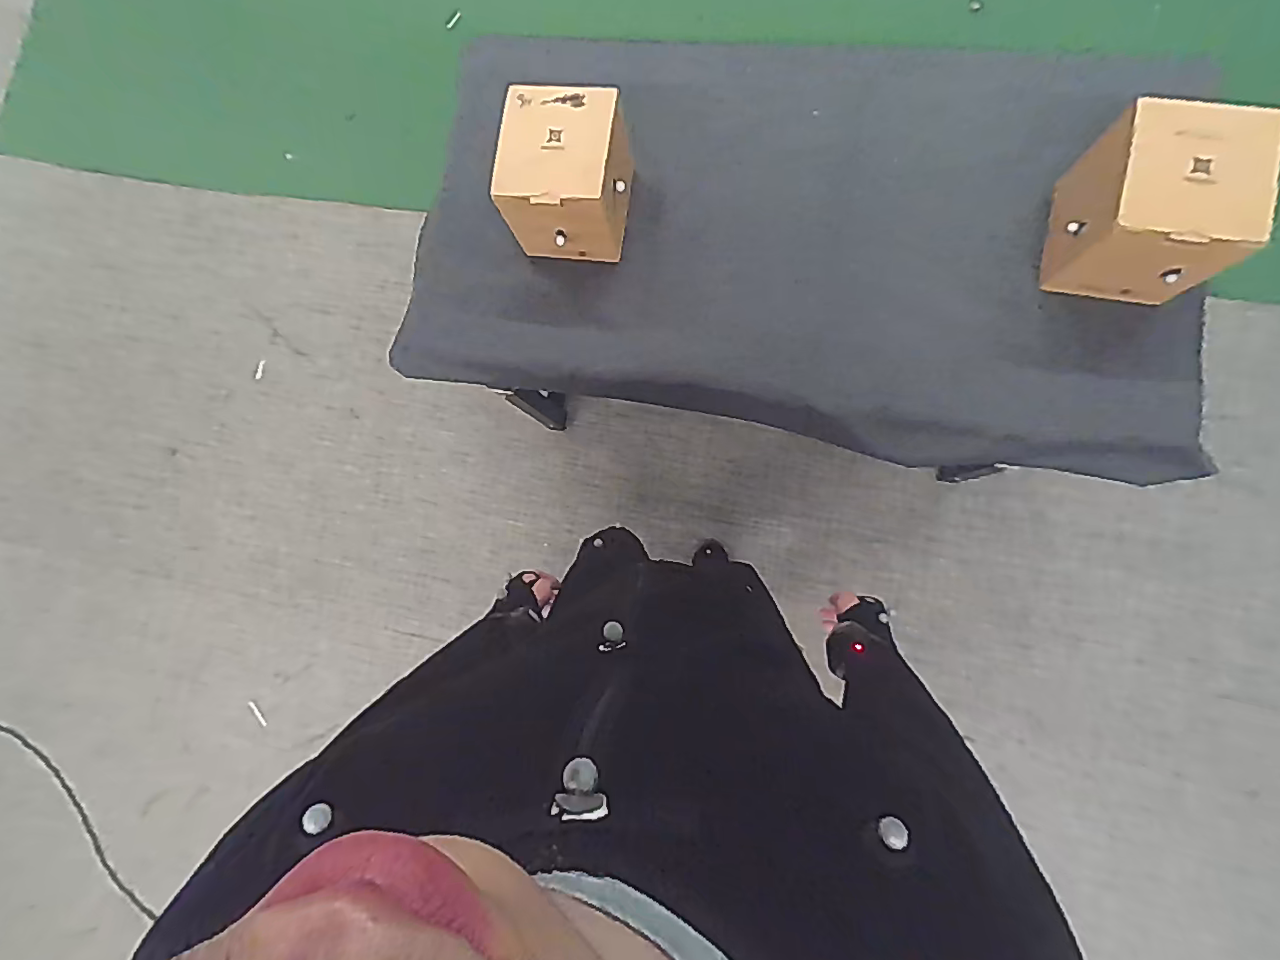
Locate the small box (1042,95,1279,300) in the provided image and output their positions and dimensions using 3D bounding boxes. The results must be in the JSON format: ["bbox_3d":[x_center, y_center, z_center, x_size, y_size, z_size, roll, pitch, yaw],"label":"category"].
[{"bbox_3d":[0.682,-0.364,0.725,0.168,0.176,0.179,12,84,8],"label":"small box"}]

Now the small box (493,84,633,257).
[{"bbox_3d":[-0.110,-0.472,0.846,0.168,0.176,0.179,7,85,8],"label":"small box"}]
